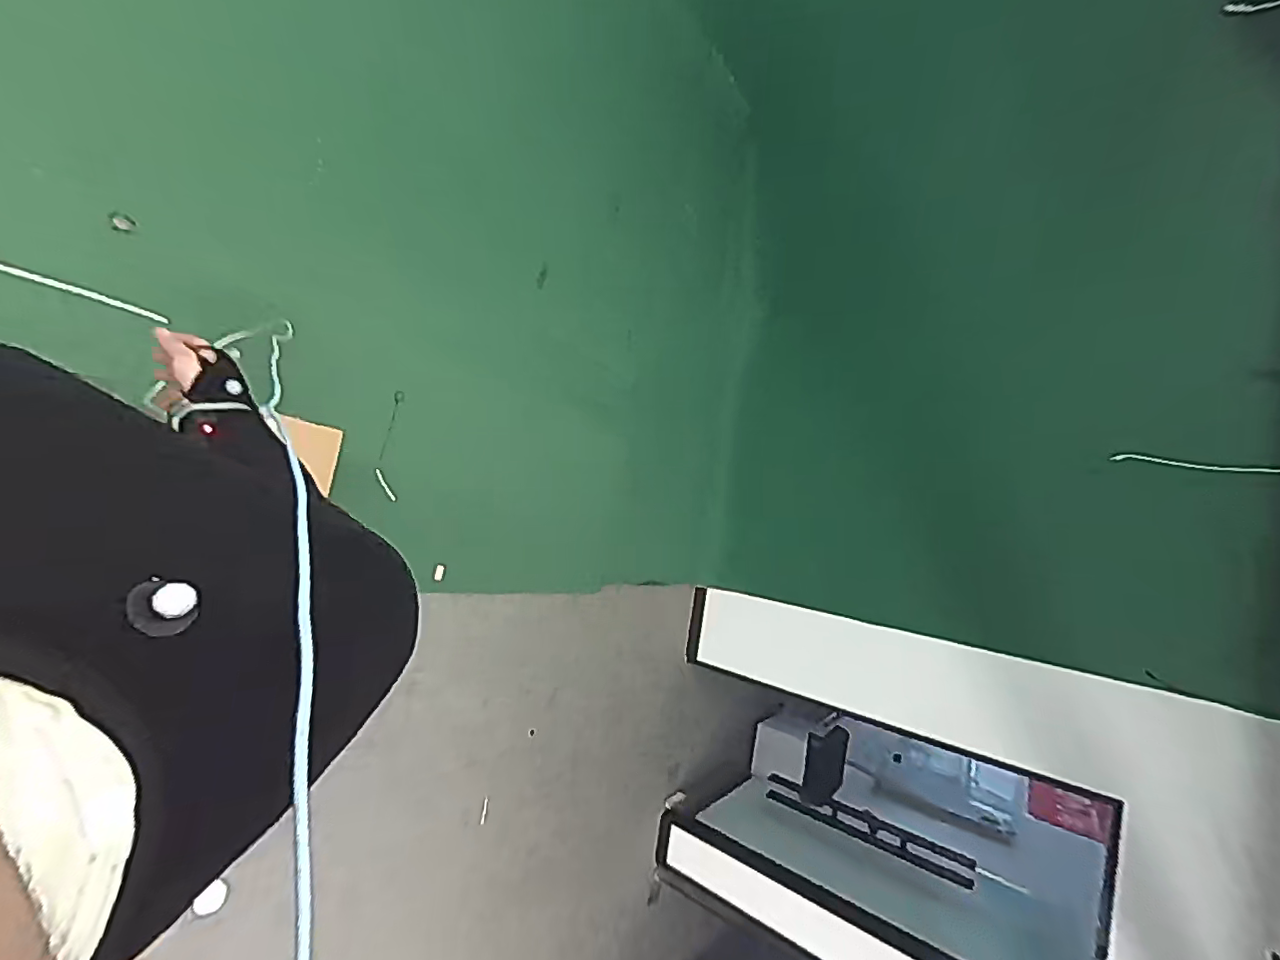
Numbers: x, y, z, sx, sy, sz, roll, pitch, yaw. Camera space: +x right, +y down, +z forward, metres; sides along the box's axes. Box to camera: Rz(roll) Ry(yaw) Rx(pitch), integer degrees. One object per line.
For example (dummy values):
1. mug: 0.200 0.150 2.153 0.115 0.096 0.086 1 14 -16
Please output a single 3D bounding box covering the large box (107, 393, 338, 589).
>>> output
1. large box: -0.982 0.027 1.284 0.320 0.320 0.408 17 82 -53
